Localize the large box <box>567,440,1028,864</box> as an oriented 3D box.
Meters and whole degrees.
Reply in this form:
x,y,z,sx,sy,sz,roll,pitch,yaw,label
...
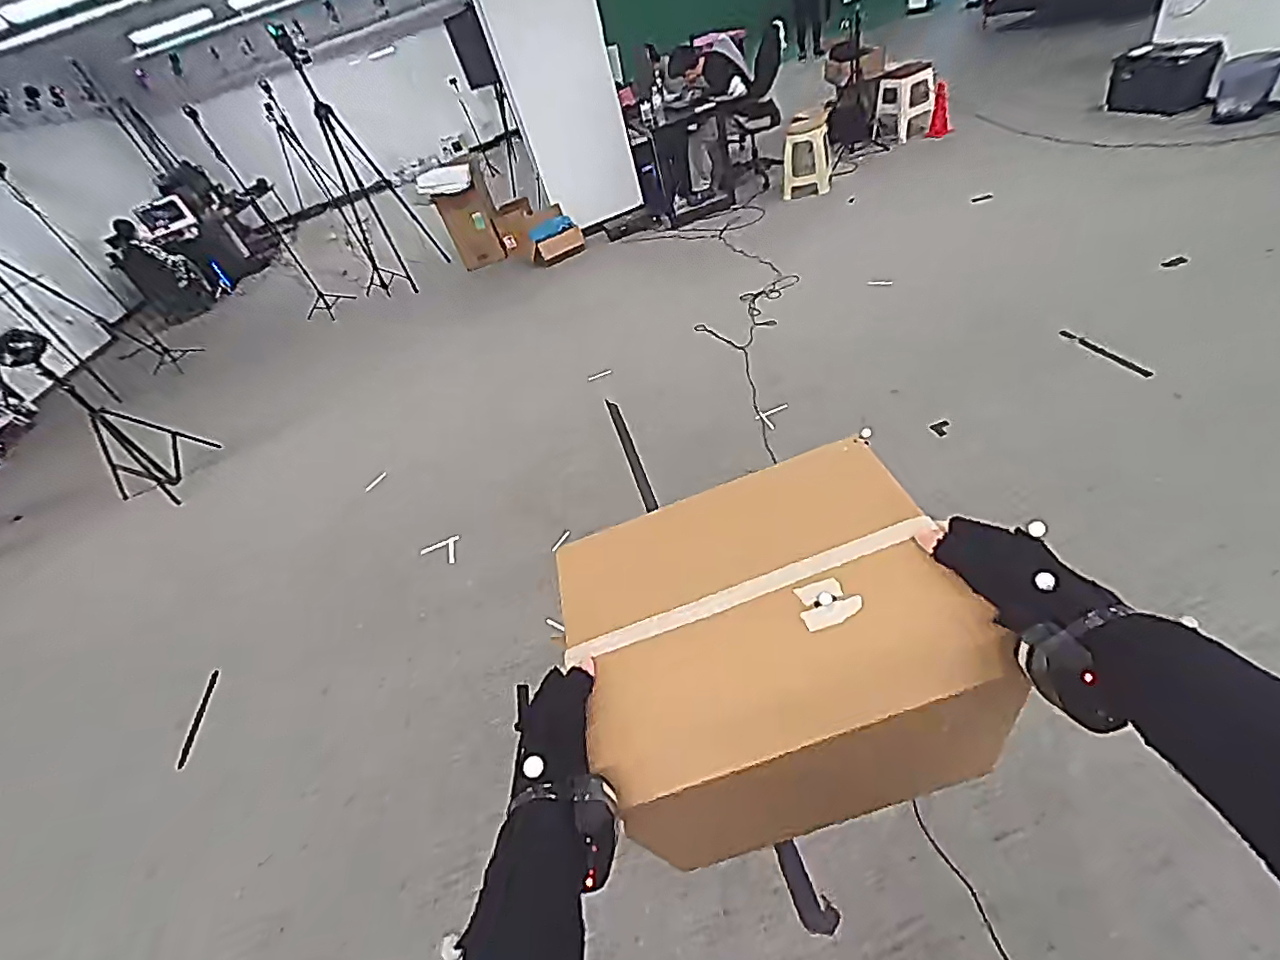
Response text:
x,y,z,sx,sy,sz,roll,pitch,yaw,label
0.163,0.219,0.682,0.408,0.320,0.320,-21,44,3,large box
